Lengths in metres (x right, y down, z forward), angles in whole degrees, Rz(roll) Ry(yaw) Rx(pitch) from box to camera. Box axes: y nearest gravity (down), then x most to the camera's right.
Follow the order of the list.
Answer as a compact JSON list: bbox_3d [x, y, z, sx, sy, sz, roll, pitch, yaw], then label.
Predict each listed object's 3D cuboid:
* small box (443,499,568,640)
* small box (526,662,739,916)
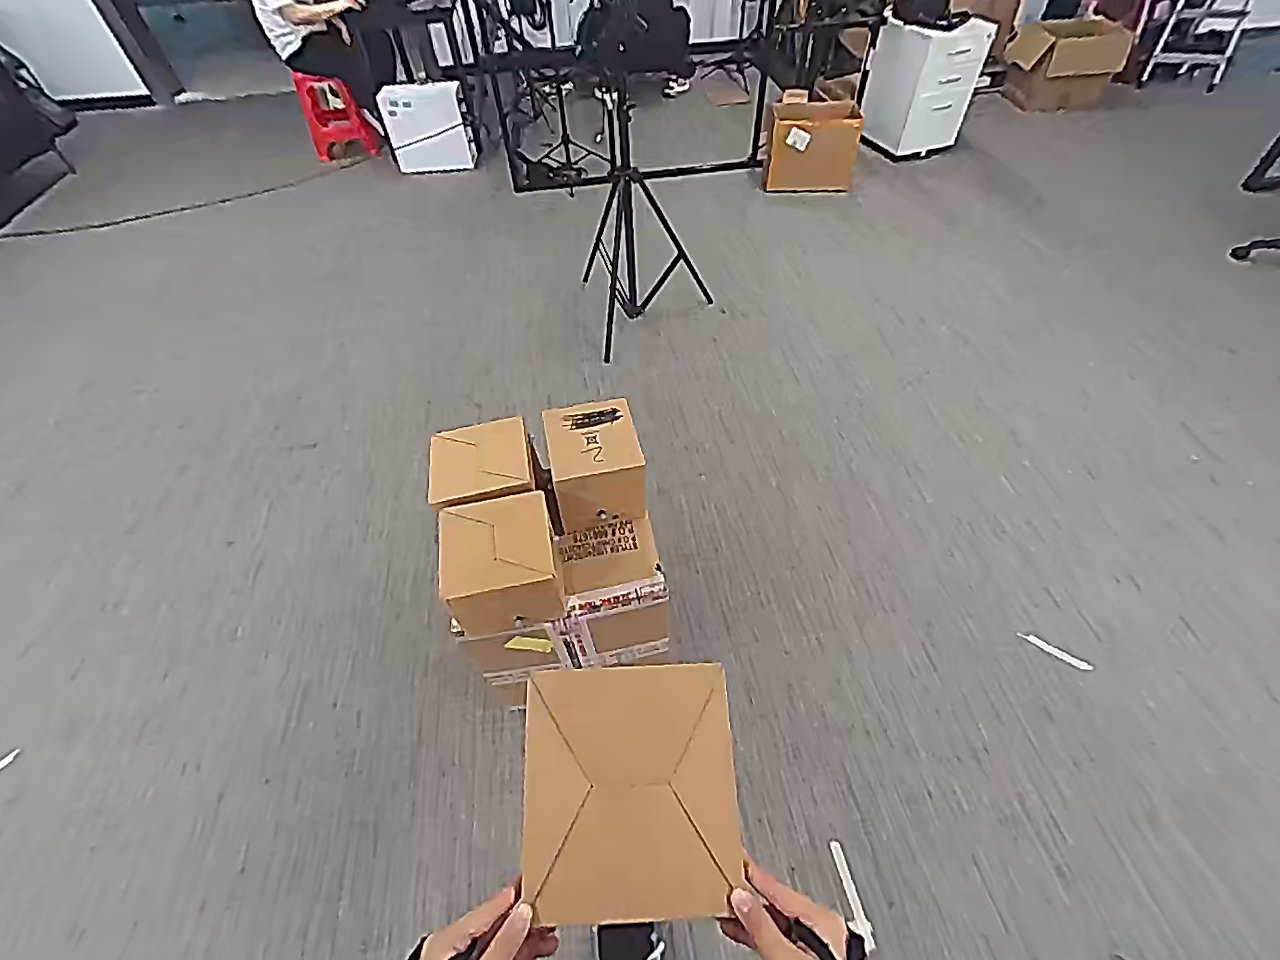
[{"bbox_3d":[-0.230,0.152,0.929,0.179,0.176,0.168,-11,54,-6],"label":"small box"},{"bbox_3d":[-0.009,0.269,0.501,0.168,0.176,0.179,-2,69,-2],"label":"small box"}]
